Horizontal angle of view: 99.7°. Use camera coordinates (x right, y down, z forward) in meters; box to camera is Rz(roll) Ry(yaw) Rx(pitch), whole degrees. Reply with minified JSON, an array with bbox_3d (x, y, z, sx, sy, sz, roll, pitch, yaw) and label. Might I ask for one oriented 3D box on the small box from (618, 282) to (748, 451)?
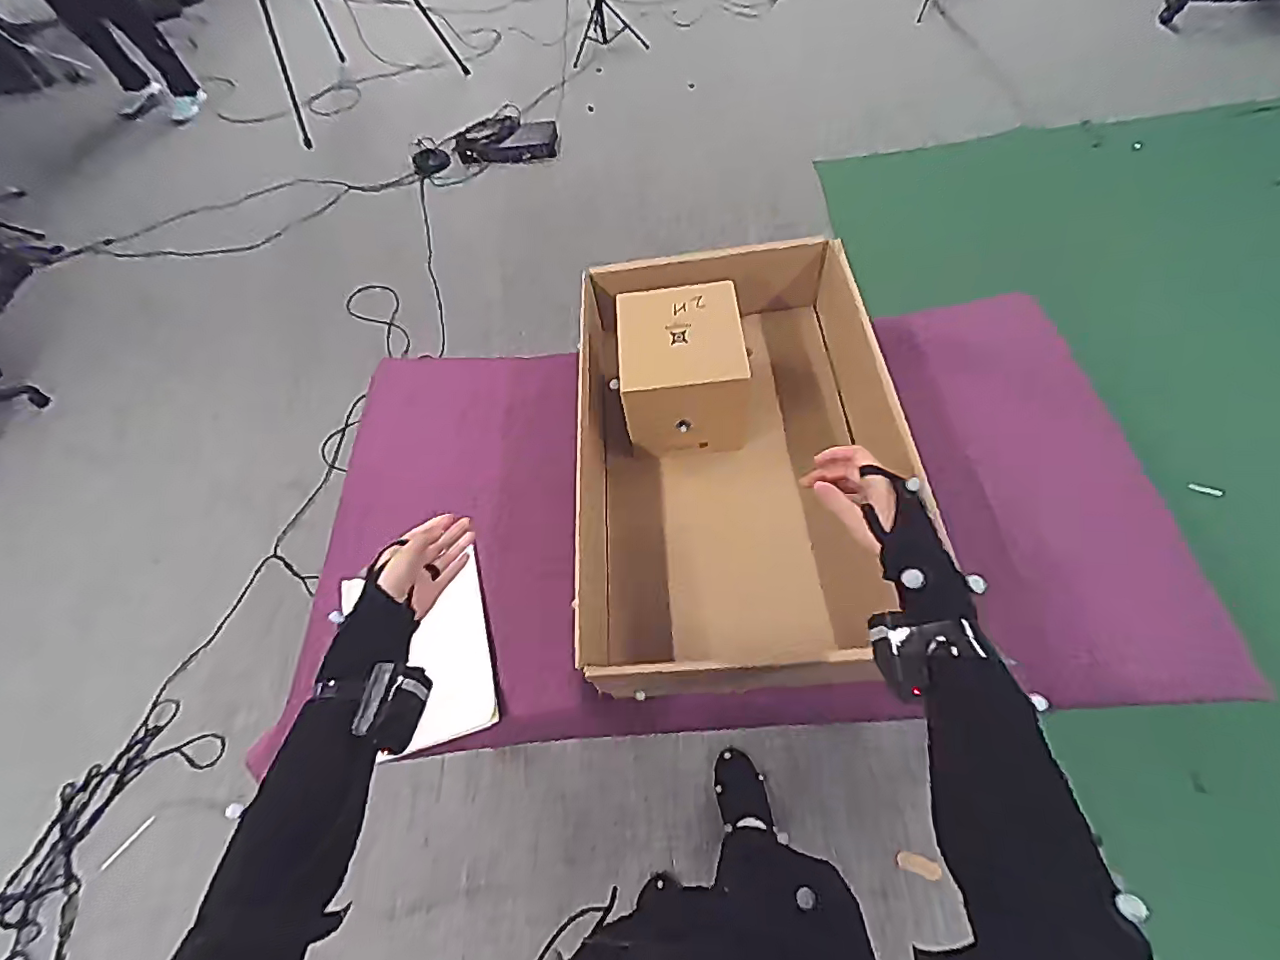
[{"bbox_3d":[0.062,-0.153,0.782,0.168,0.176,0.179,-5,61,5],"label":"small box"}]
